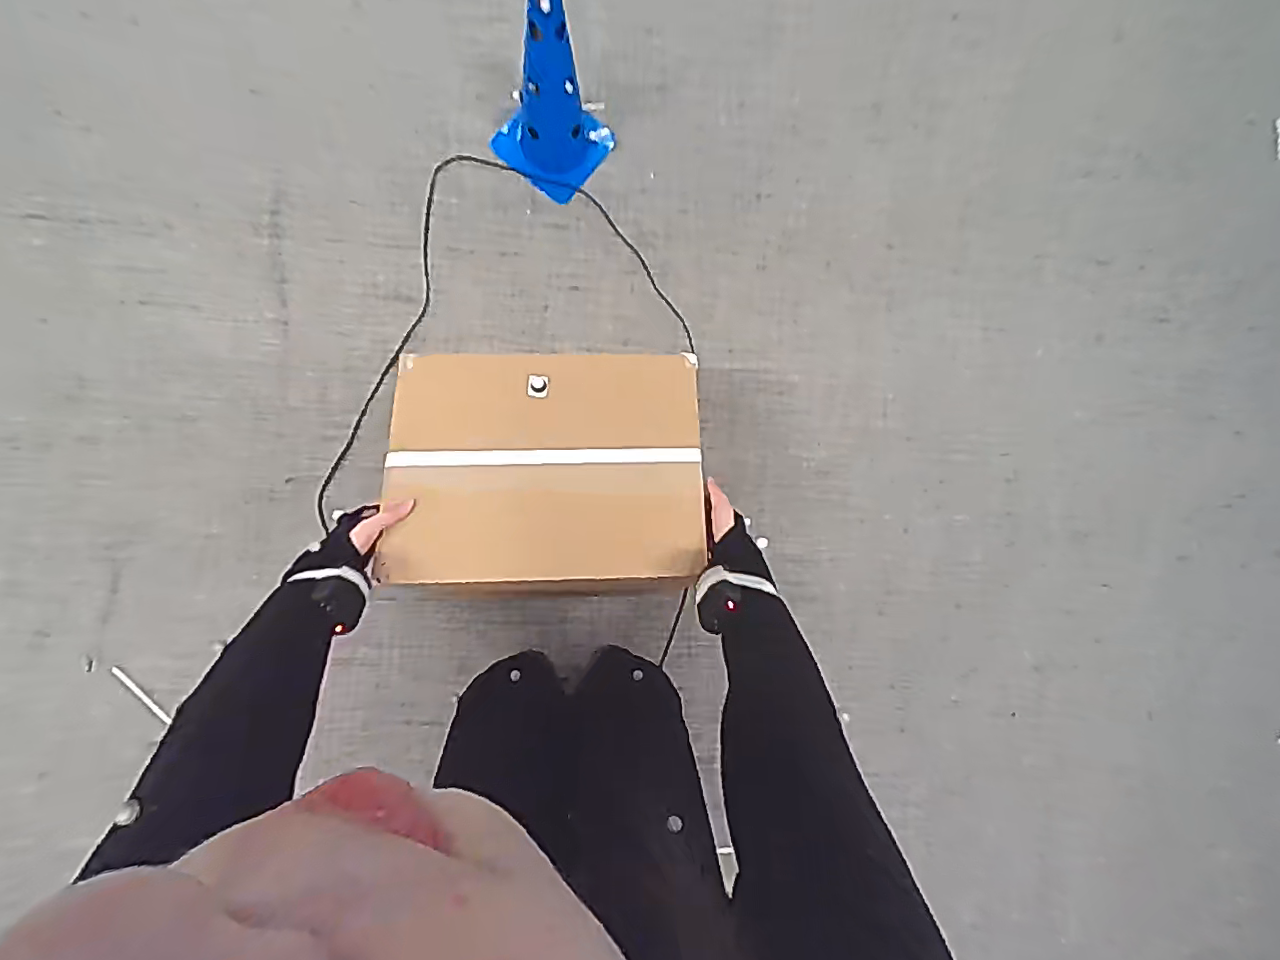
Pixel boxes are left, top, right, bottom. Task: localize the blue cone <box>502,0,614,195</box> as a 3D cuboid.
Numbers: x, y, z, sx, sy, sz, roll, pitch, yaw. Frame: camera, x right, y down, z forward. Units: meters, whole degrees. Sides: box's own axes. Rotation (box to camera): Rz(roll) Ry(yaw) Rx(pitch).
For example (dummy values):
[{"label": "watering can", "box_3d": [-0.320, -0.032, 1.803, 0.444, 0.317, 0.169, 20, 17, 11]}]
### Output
[{"label": "blue cone", "box_3d": [-0.146, -0.713, 0.944, 0.192, 0.380, 0.193, 35, 82, -4]}]
